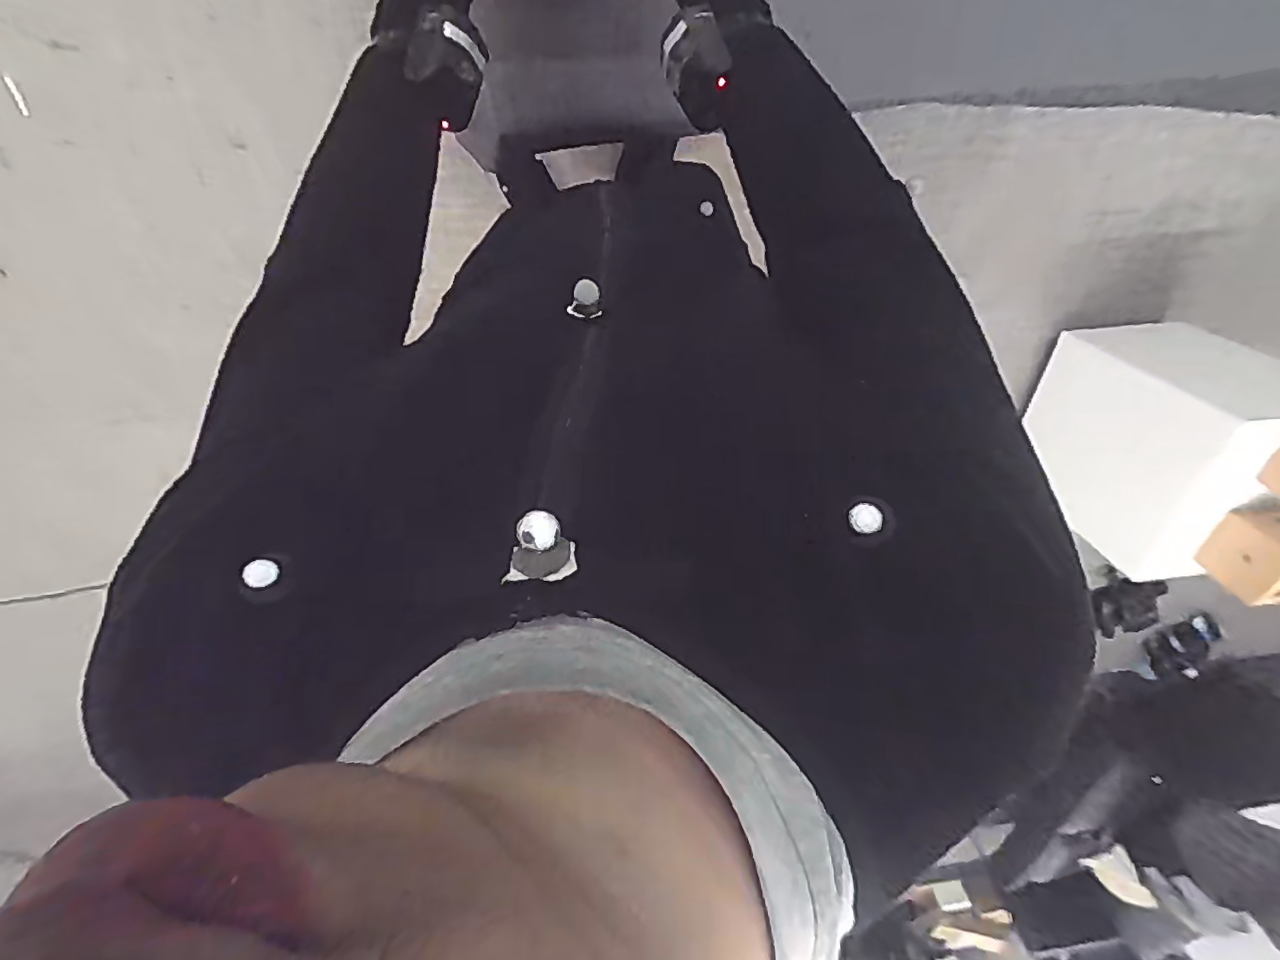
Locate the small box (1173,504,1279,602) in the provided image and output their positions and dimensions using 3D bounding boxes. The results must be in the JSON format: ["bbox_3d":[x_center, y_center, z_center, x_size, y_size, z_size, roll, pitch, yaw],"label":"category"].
[{"bbox_3d":[1.544,0.184,1.385,0.168,0.176,0.179,-6,125,-6],"label":"small box"}]

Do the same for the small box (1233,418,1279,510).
[{"bbox_3d":[1.537,-0.031,1.230,0.168,0.176,0.179,-8,127,-6],"label":"small box"}]
